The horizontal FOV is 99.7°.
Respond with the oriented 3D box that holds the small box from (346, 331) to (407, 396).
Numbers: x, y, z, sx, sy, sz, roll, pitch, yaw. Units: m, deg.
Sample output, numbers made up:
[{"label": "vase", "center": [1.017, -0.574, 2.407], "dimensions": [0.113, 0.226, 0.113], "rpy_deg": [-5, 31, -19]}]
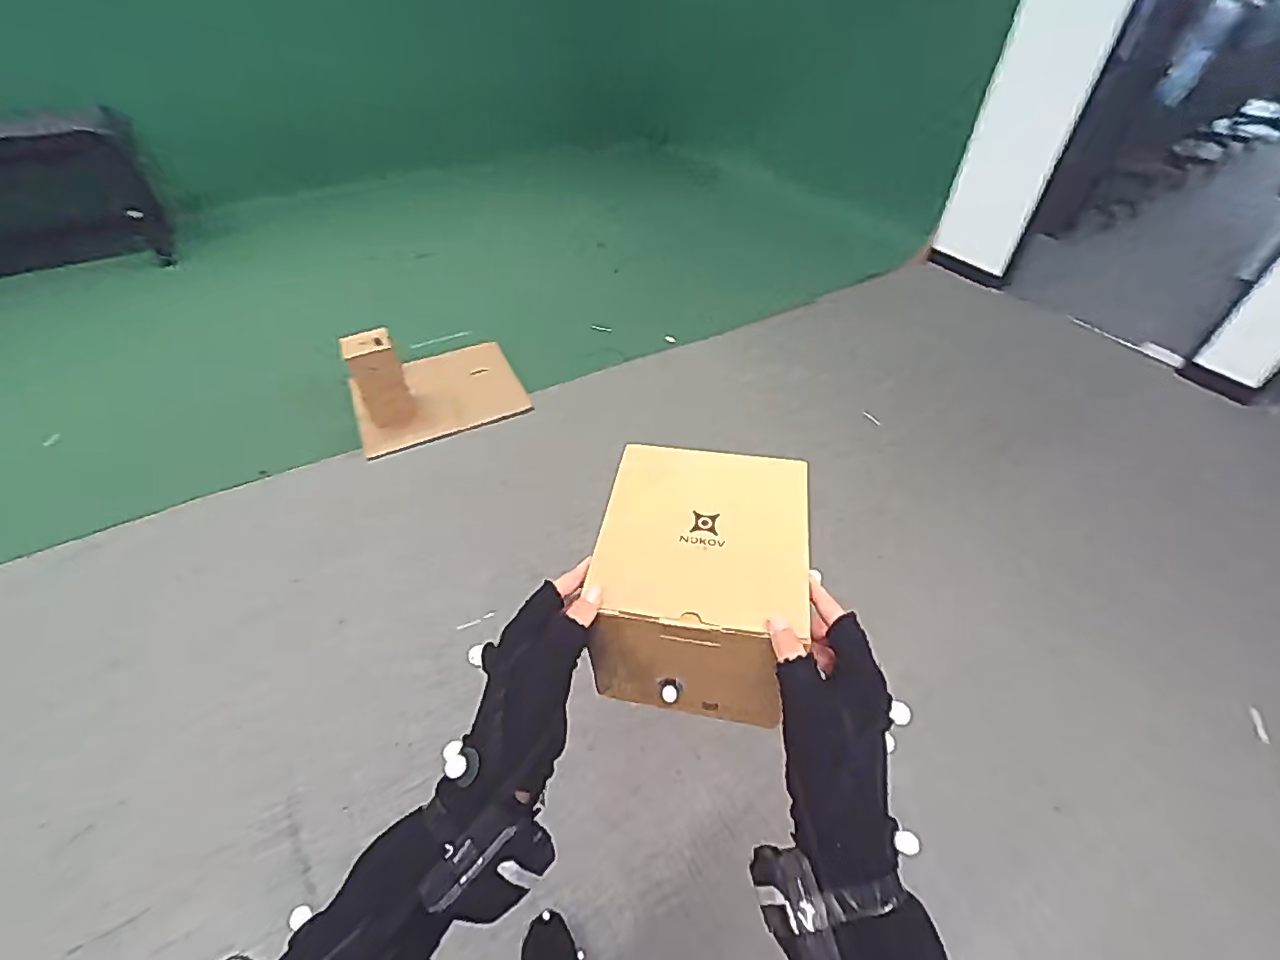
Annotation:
[{"label": "small box", "center": [-1.052, -0.466, 2.168], "dimensions": [0.179, 0.176, 0.168], "rpy_deg": [-20, 49, -14]}]
